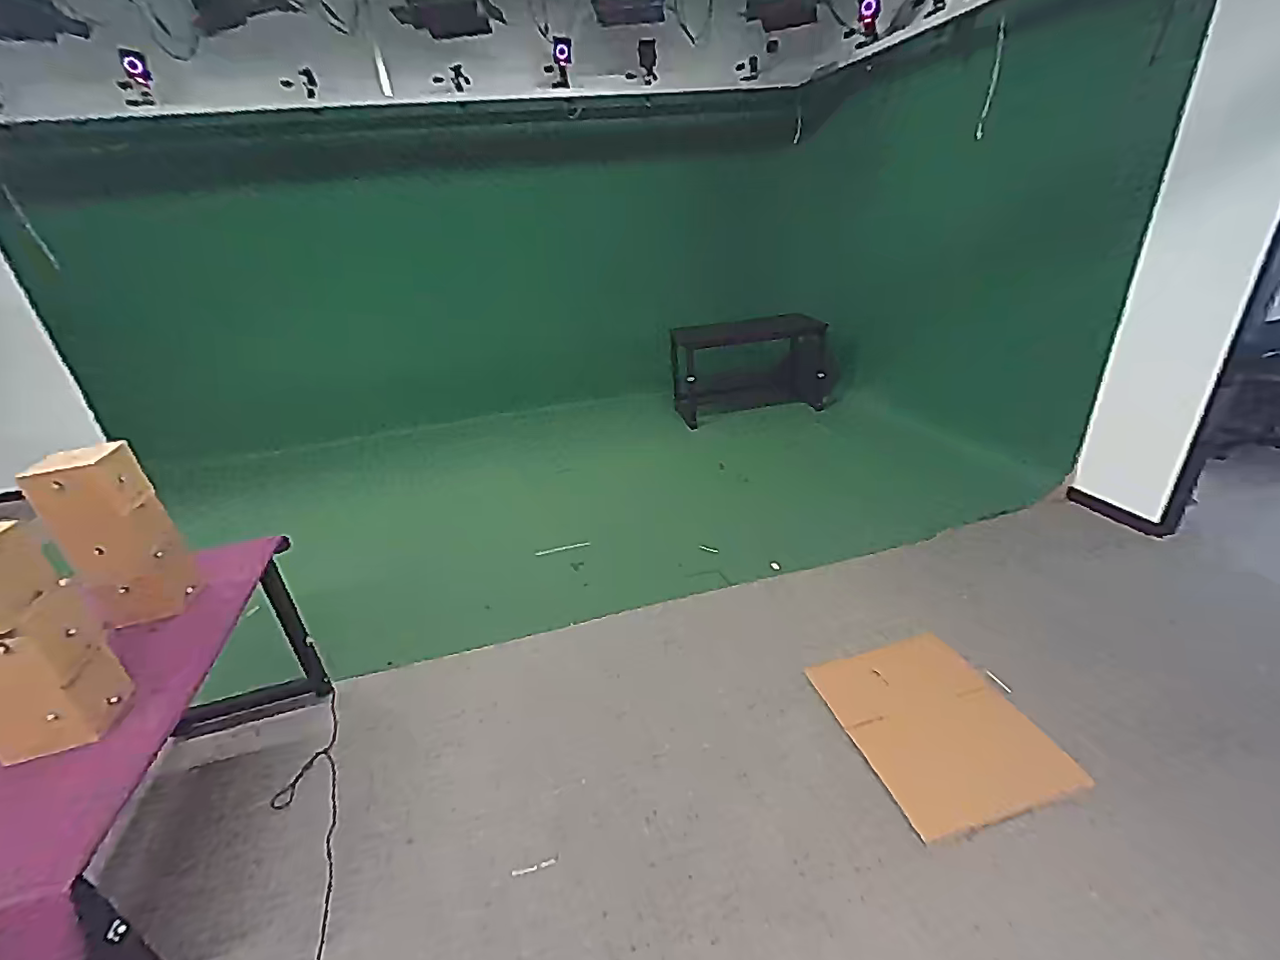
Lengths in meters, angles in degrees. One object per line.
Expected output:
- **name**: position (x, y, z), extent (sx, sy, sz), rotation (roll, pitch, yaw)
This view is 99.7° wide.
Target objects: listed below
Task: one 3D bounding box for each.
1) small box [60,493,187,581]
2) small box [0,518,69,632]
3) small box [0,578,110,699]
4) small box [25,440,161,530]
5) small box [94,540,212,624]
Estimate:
- **small box**: position (-1.456, 0.161, 1.543), extent (0.179, 0.176, 0.168), rotation (-13, 29, -10)
- **small box**: position (-1.316, 0.201, 1.064), extent (0.179, 0.176, 0.168), rotation (-11, 27, -11)
- **small box**: position (-1.304, 0.340, 1.152), extent (0.179, 0.176, 0.168), rotation (-12, 26, -14)
- **small box**: position (-1.476, 0.013, 1.478), extent (0.179, 0.176, 0.168), rotation (-14, 29, -11)
- **small box**: position (-1.444, 0.306, 1.618), extent (0.179, 0.176, 0.168), rotation (-11, 28, -10)
